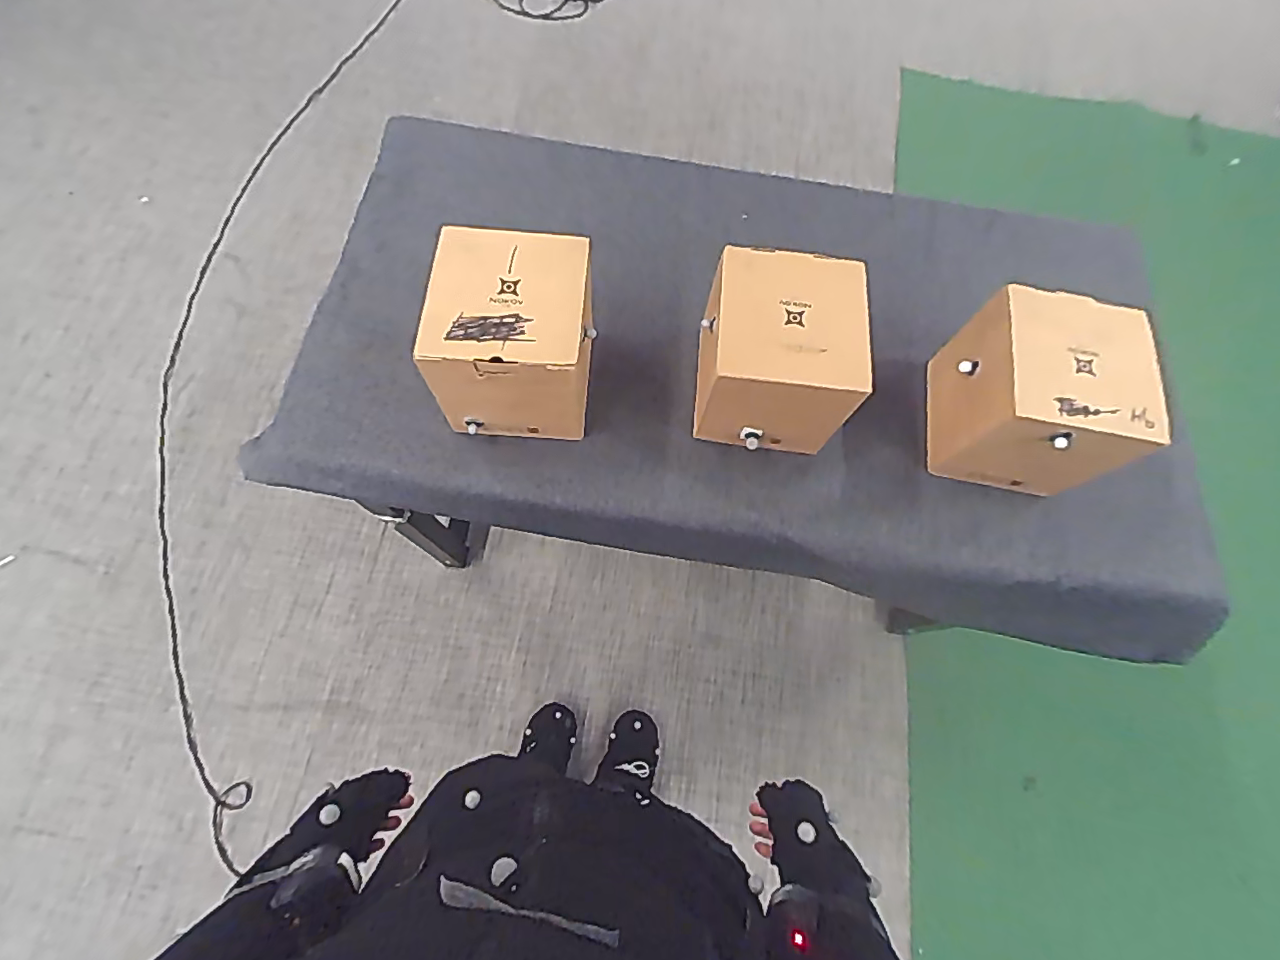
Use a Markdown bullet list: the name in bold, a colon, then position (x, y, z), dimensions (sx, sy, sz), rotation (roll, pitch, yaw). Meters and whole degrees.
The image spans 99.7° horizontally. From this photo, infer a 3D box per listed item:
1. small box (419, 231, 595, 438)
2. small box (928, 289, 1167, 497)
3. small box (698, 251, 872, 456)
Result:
- **small box**: position (-0.143, -0.164, 0.652), dimensions (0.168, 0.176, 0.179), rotation (4, 67, -3)
- **small box**: position (0.478, -0.099, 0.668), dimensions (0.168, 0.176, 0.179), rotation (11, 68, 2)
- **small box**: position (0.166, -0.148, 0.670), dimensions (0.168, 0.176, 0.179), rotation (6, 70, 0)
